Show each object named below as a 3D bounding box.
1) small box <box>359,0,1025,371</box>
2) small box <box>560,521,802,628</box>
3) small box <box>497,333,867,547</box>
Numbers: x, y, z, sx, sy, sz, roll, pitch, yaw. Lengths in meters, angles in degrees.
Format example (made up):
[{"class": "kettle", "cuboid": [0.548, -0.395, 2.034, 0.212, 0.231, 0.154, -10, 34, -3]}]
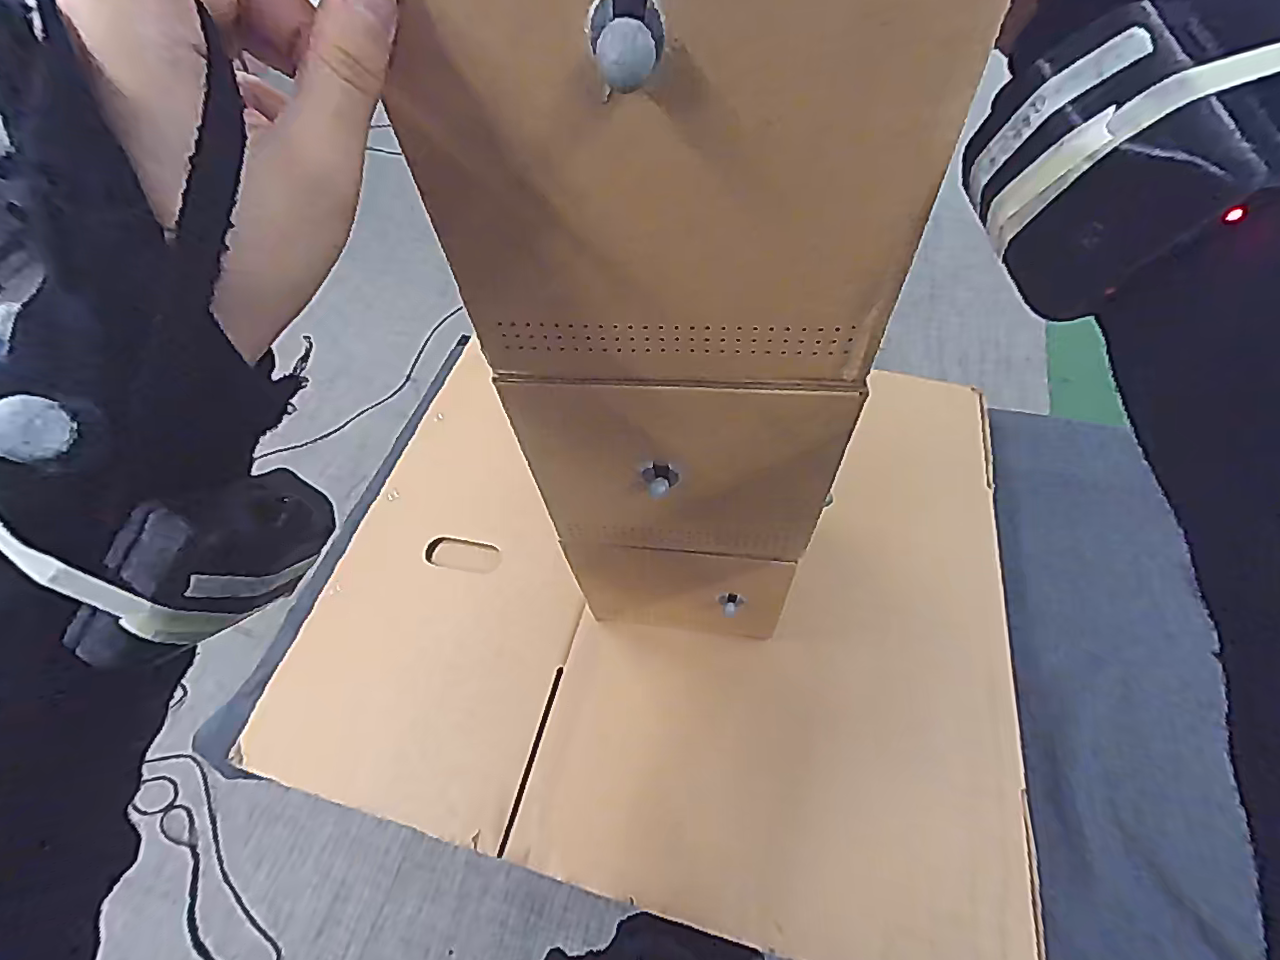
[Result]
[{"class": "small box", "cuboid": [0.022, -0.161, 0.227, 0.179, 0.176, 0.168, 2, 56, 8]}, {"class": "small box", "cuboid": [0.043, 0.026, 0.494, 0.179, 0.176, 0.168, 3, 56, 9]}, {"class": "small box", "cuboid": [0.032, -0.067, 0.359, 0.179, 0.176, 0.168, 3, 56, 8]}]
